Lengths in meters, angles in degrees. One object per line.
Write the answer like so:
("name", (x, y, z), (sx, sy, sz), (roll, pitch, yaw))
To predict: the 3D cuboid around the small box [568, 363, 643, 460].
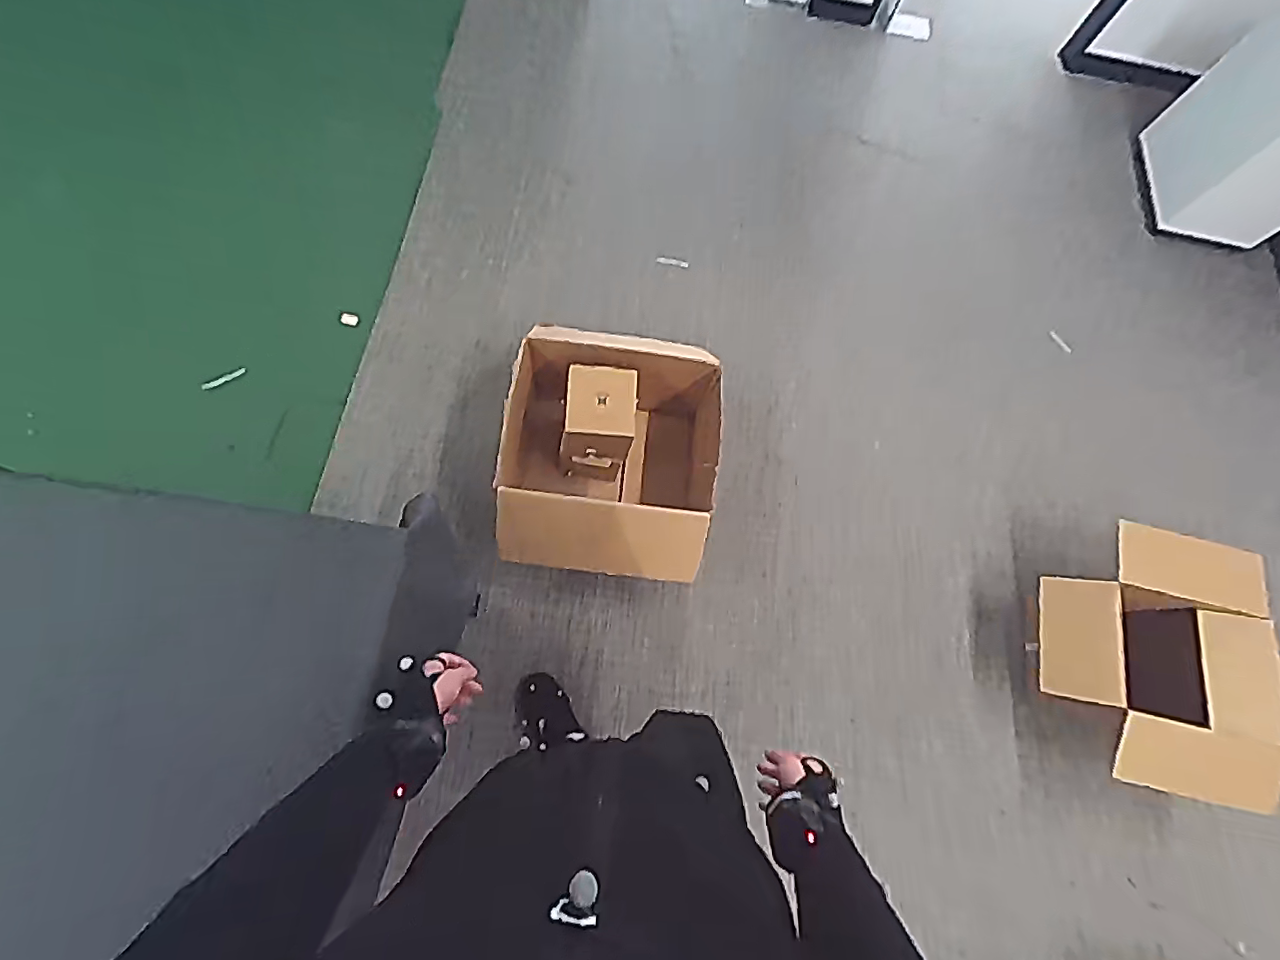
("small box", (-0.089, -0.165, 1.338), (0.168, 0.176, 0.179), (4, 72, -8))
